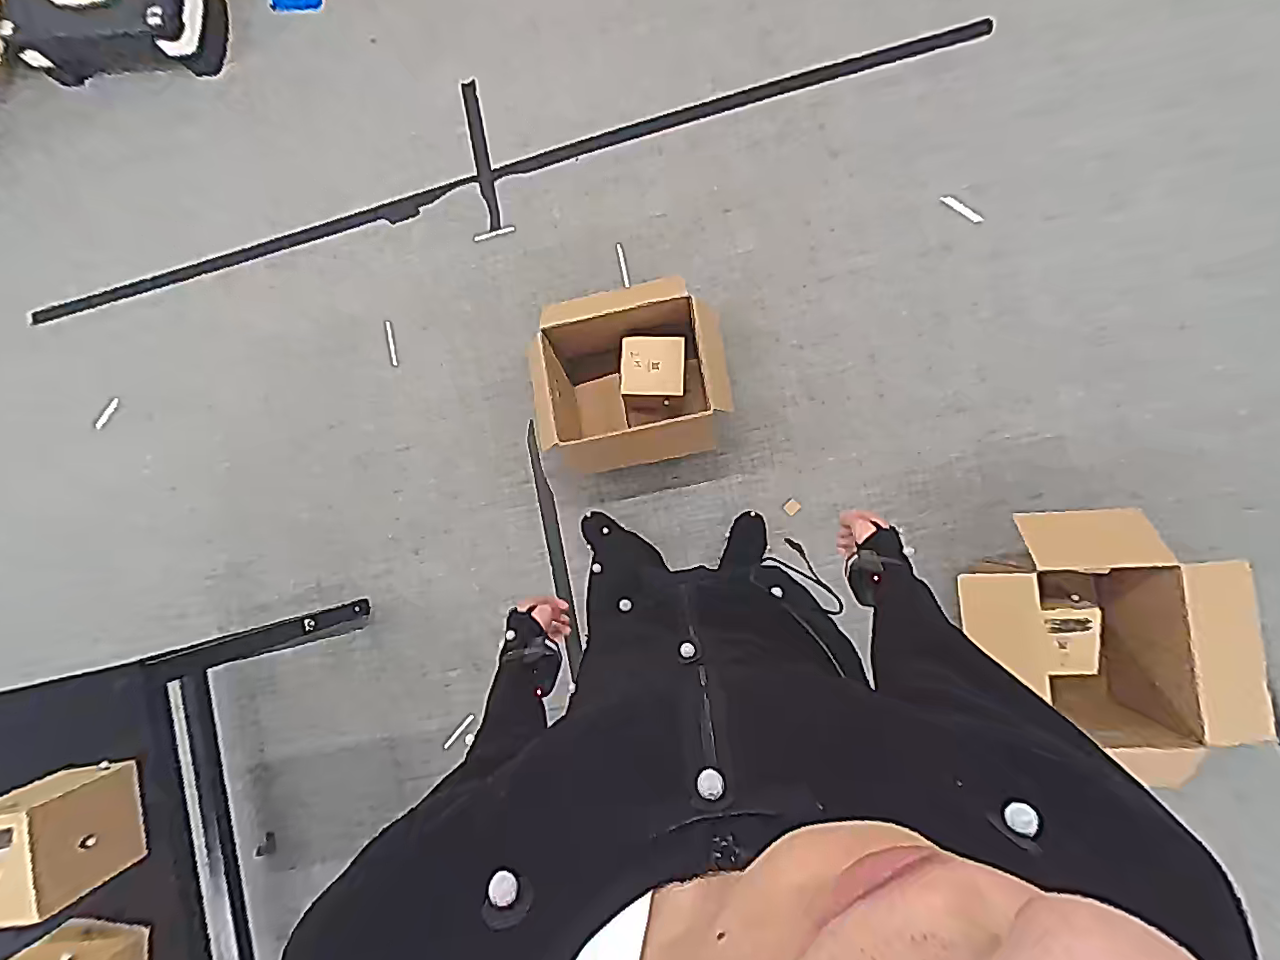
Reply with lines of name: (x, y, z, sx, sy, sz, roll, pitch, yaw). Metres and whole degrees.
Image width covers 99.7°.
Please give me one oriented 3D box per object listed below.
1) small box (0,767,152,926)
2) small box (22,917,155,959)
small box: (-1.009, 0.624, 0.940, 0.168, 0.176, 0.179, -11, 87, 7)
small box: (-0.985, 0.903, 0.929, 0.168, 0.176, 0.179, 0, 89, 8)
